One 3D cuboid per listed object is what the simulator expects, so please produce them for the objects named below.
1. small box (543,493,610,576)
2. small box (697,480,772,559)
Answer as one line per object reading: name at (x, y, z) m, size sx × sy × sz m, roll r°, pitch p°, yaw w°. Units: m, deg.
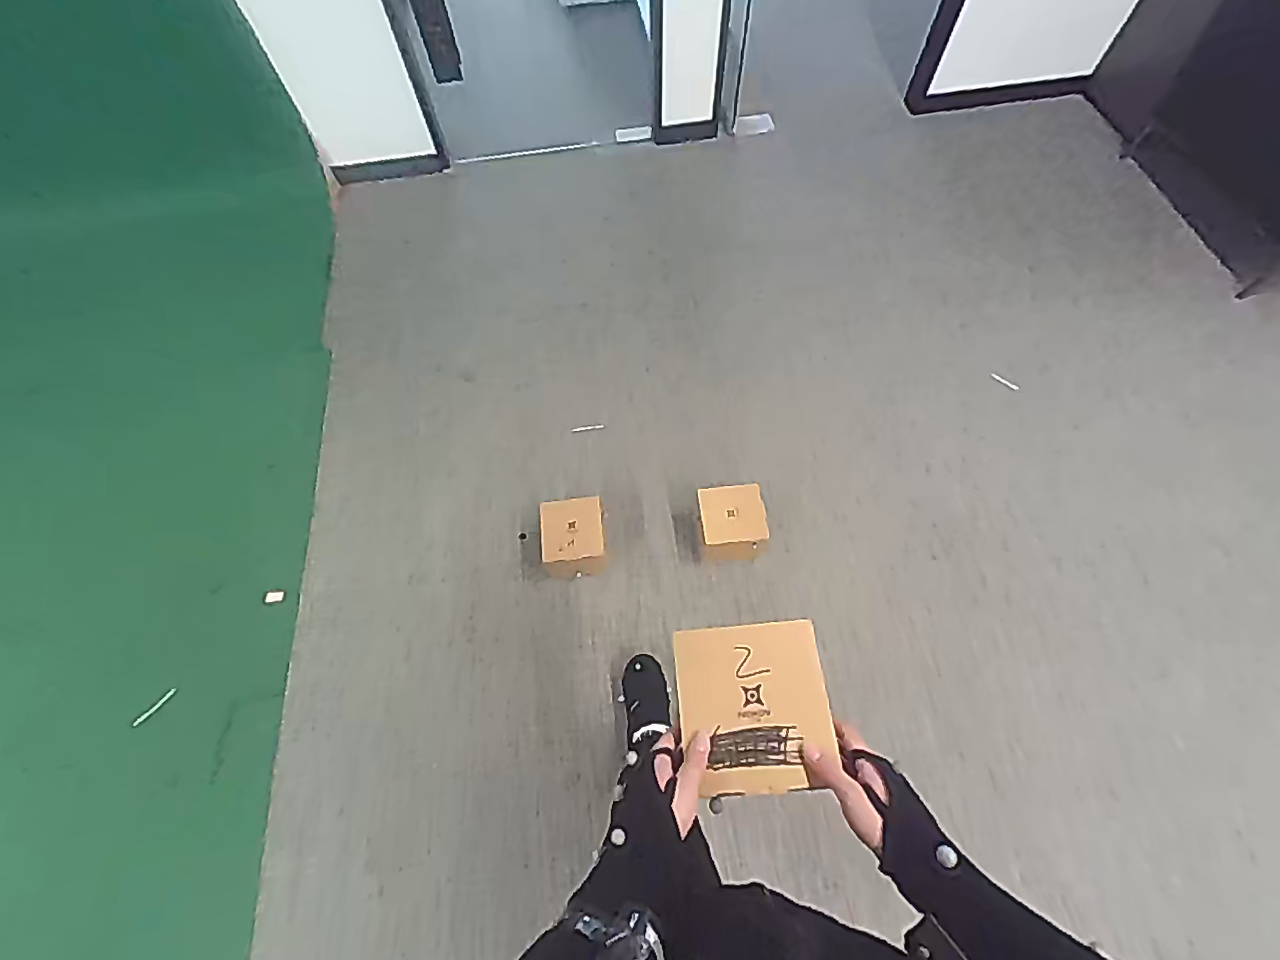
small box at (-0.177, 0.156, 1.517) m, size 0.168 × 0.176 × 0.179 m, roll -7°, pitch 64°, yaw -1°
small box at (0.256, 0.115, 1.524) m, size 0.179 × 0.176 × 0.168 m, roll -6°, pitch 64°, yaw -2°
